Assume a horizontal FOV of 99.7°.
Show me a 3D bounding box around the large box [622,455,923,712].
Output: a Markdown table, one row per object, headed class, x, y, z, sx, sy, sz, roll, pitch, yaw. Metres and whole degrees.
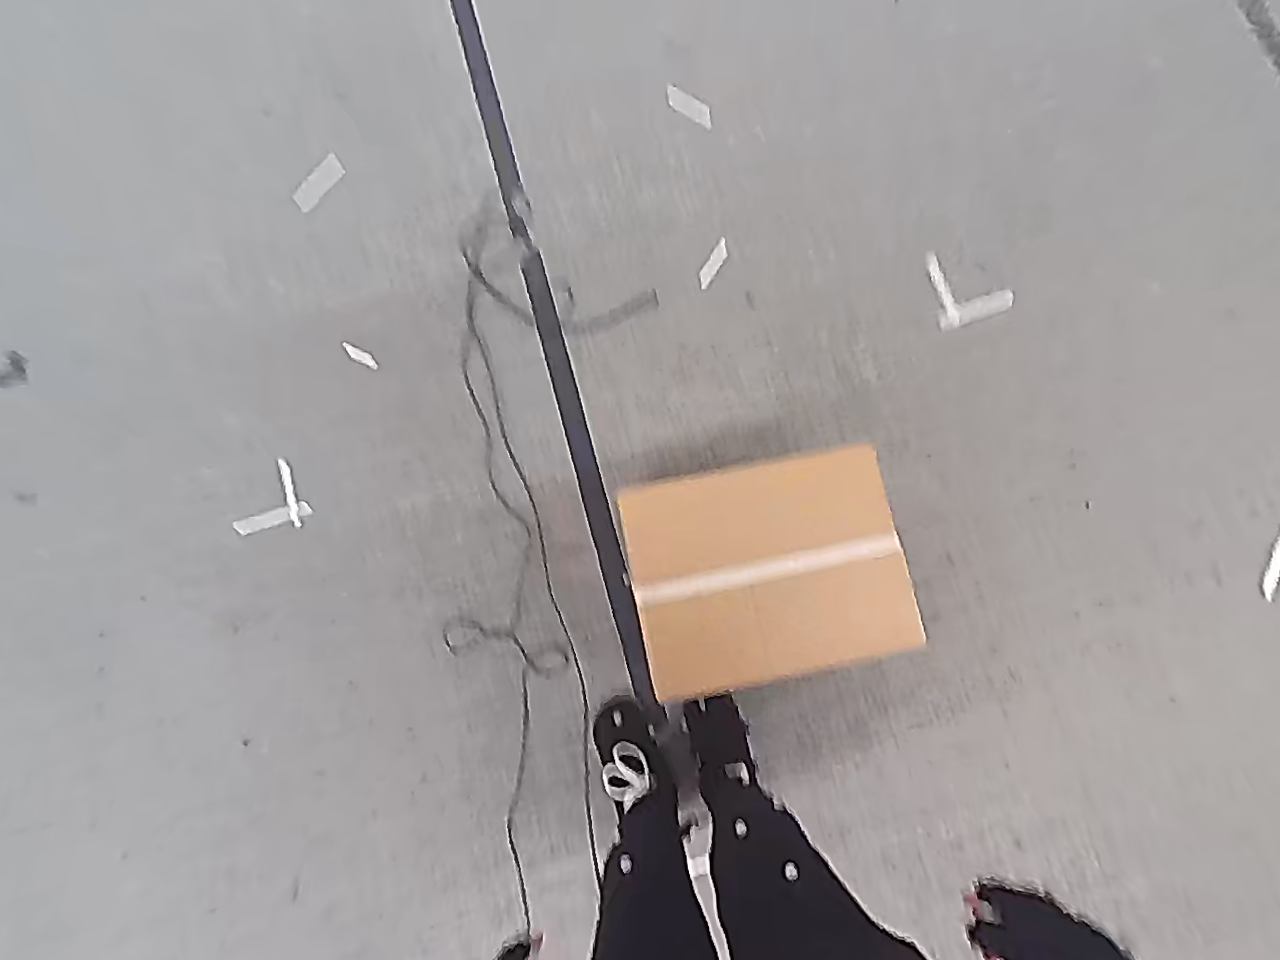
| class | x | y | z | sx | sy | sz | roll | pitch | yaw |
| --- | --- | --- | --- | --- | --- | --- | --- | --- | --- |
| large box | 0.196 | 0.171 | 0.958 | 0.408 | 0.320 | 0.320 | -11 | 80 | -2 |
